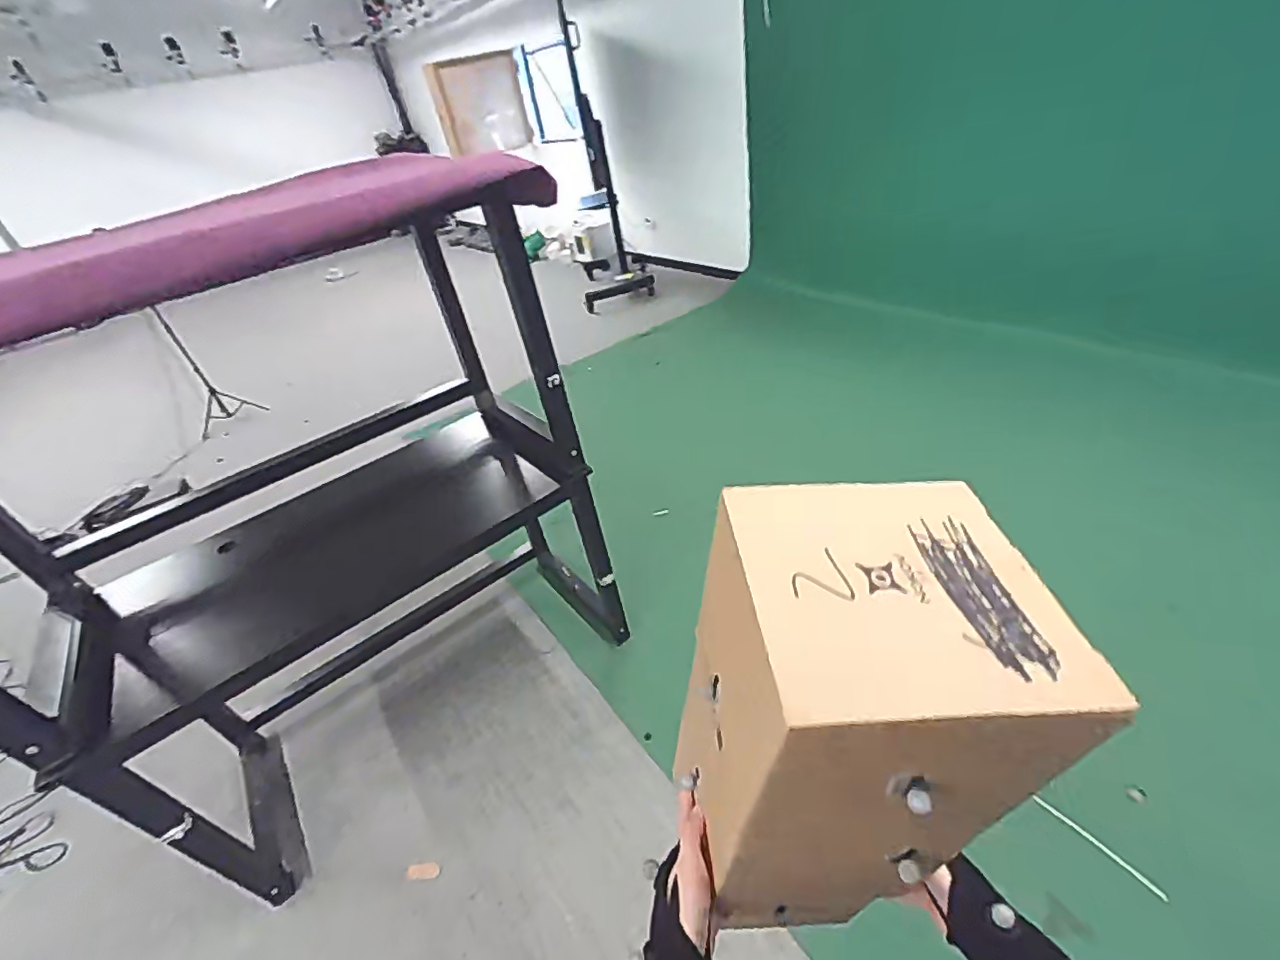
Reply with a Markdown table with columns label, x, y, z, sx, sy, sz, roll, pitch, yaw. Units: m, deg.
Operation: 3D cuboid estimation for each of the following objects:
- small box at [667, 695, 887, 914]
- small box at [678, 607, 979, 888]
| label | x | y | z | sx | sy | sz | roll | pitch | yaw |
| --- | --- | --- | --- | --- | --- | --- | --- | --- | --- |
| small box | 0.128 | 0.345 | 0.582 | 0.179 | 0.176 | 0.168 | -1 | 41 | -3 |
| small box | 0.135 | 0.228 | 0.467 | 0.179 | 0.176 | 0.168 | -1 | 40 | -5 |
